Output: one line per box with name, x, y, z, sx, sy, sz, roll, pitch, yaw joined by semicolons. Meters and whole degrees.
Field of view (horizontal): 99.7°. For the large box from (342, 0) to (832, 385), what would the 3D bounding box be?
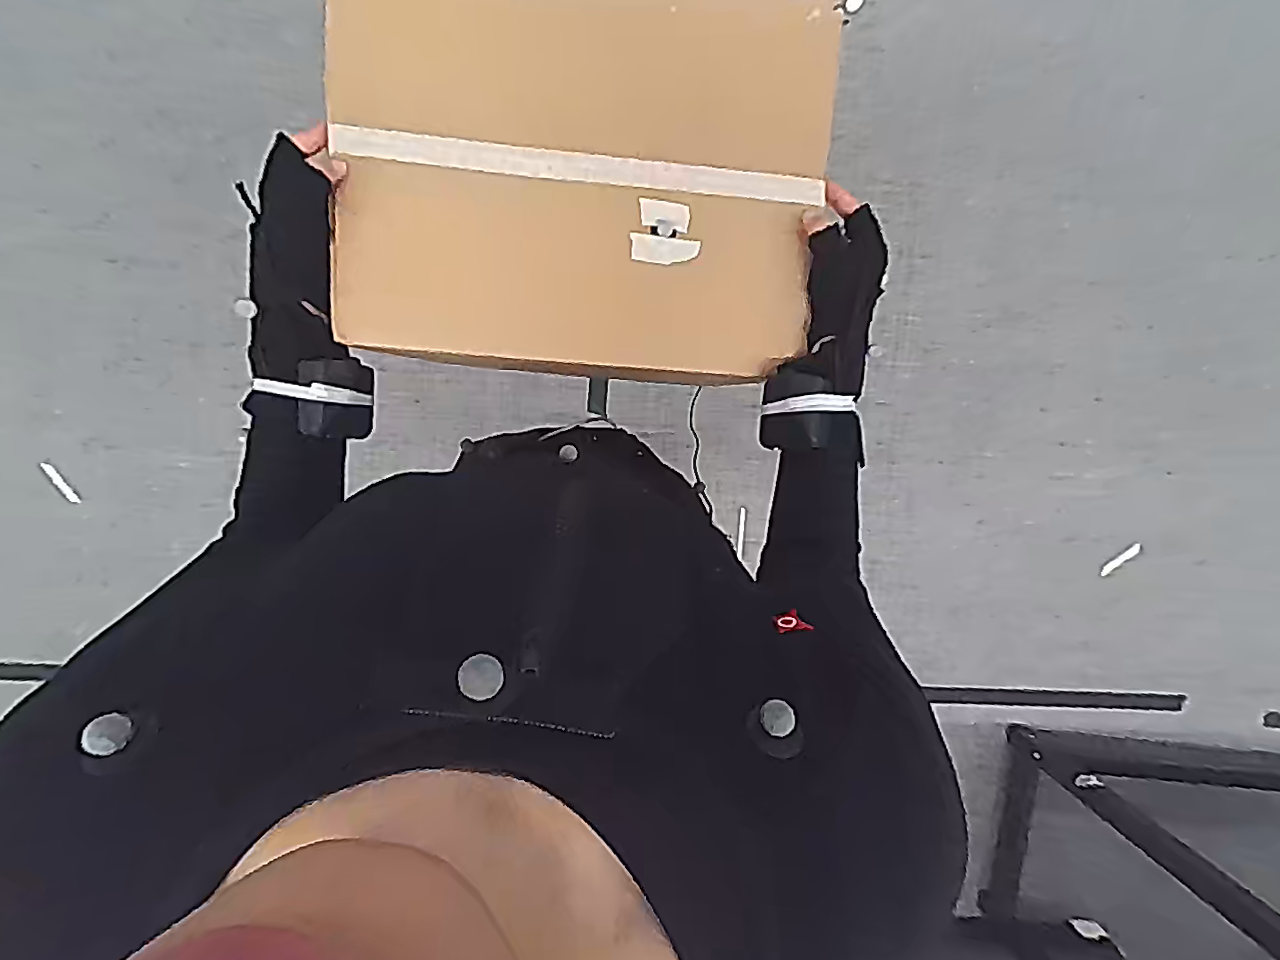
large box;-0.059;-0.276;0.604;0.408;0.320;0.320;3;100;-7
